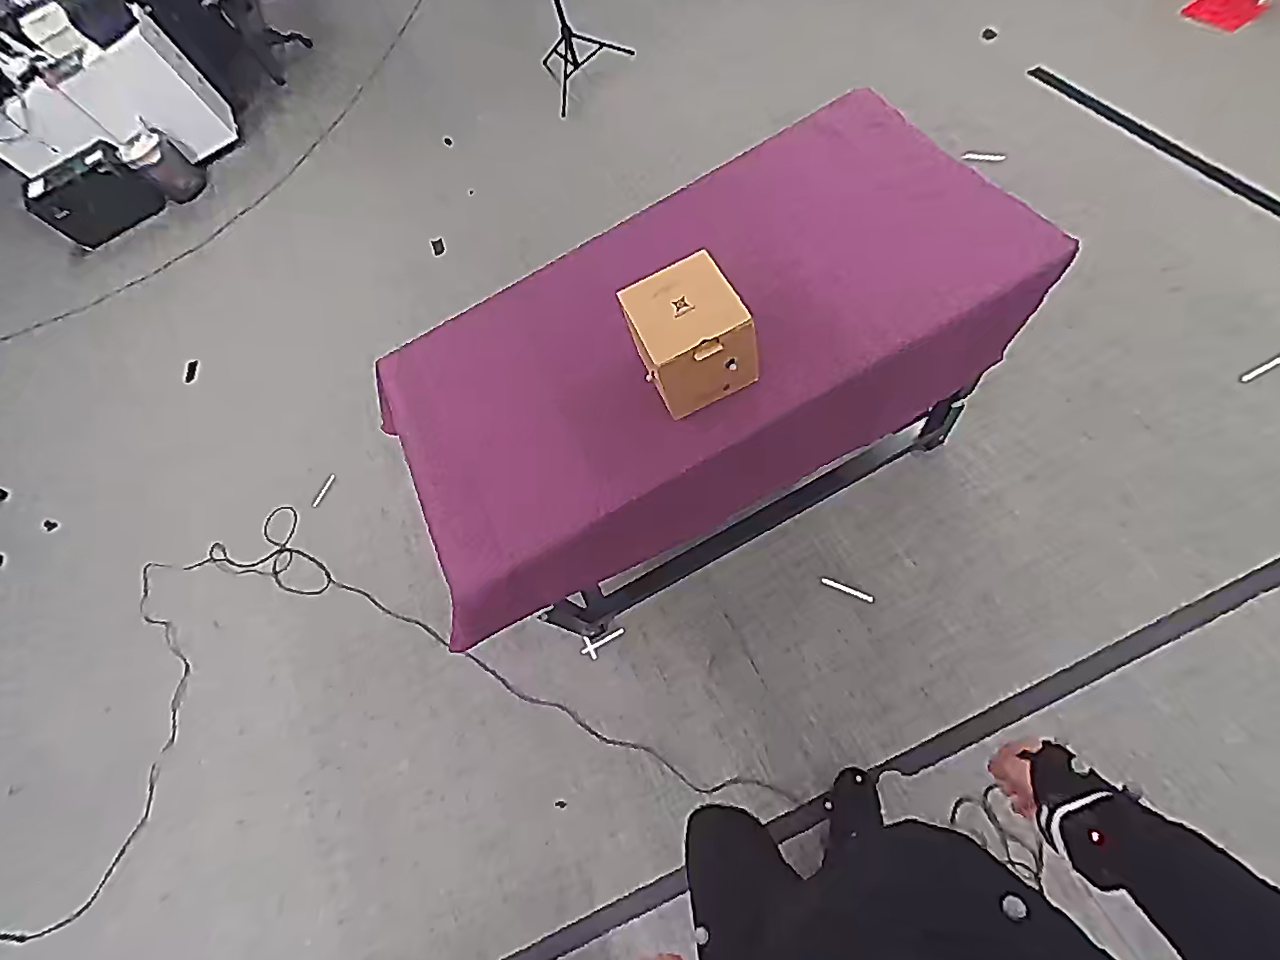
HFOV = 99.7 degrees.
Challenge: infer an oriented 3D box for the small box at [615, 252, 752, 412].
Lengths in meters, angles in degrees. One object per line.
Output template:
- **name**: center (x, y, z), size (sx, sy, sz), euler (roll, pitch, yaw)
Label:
- **small box**: center (0.080, -0.239, 0.922), size (0.168, 0.176, 0.179), euler (-26, 62, 2)
